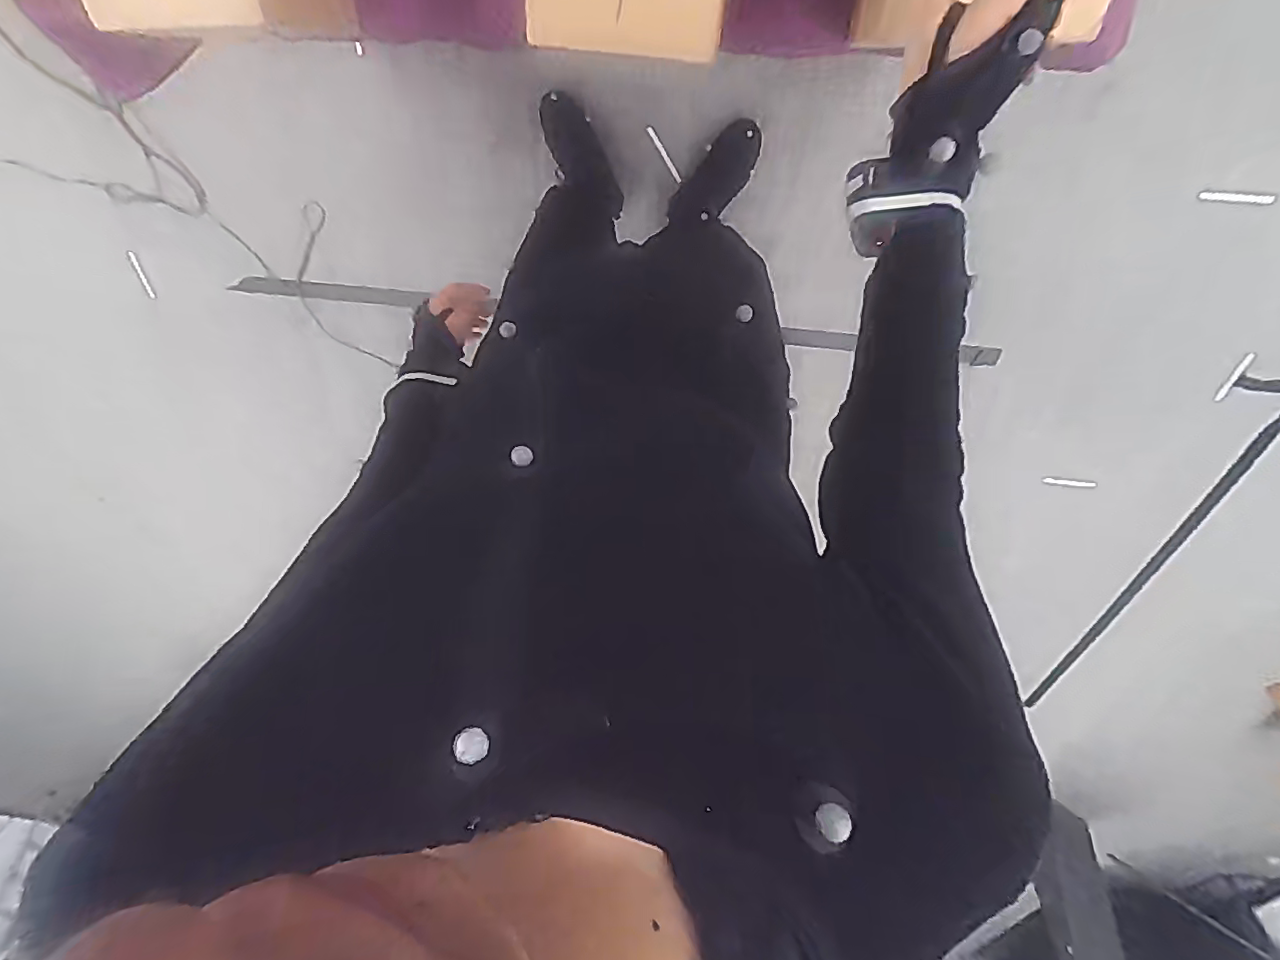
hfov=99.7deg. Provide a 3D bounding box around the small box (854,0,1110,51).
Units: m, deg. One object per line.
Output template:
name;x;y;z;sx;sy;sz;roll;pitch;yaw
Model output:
small box;0.288;-0.468;0.444;0.168;0.176;0.179;6;128;6
